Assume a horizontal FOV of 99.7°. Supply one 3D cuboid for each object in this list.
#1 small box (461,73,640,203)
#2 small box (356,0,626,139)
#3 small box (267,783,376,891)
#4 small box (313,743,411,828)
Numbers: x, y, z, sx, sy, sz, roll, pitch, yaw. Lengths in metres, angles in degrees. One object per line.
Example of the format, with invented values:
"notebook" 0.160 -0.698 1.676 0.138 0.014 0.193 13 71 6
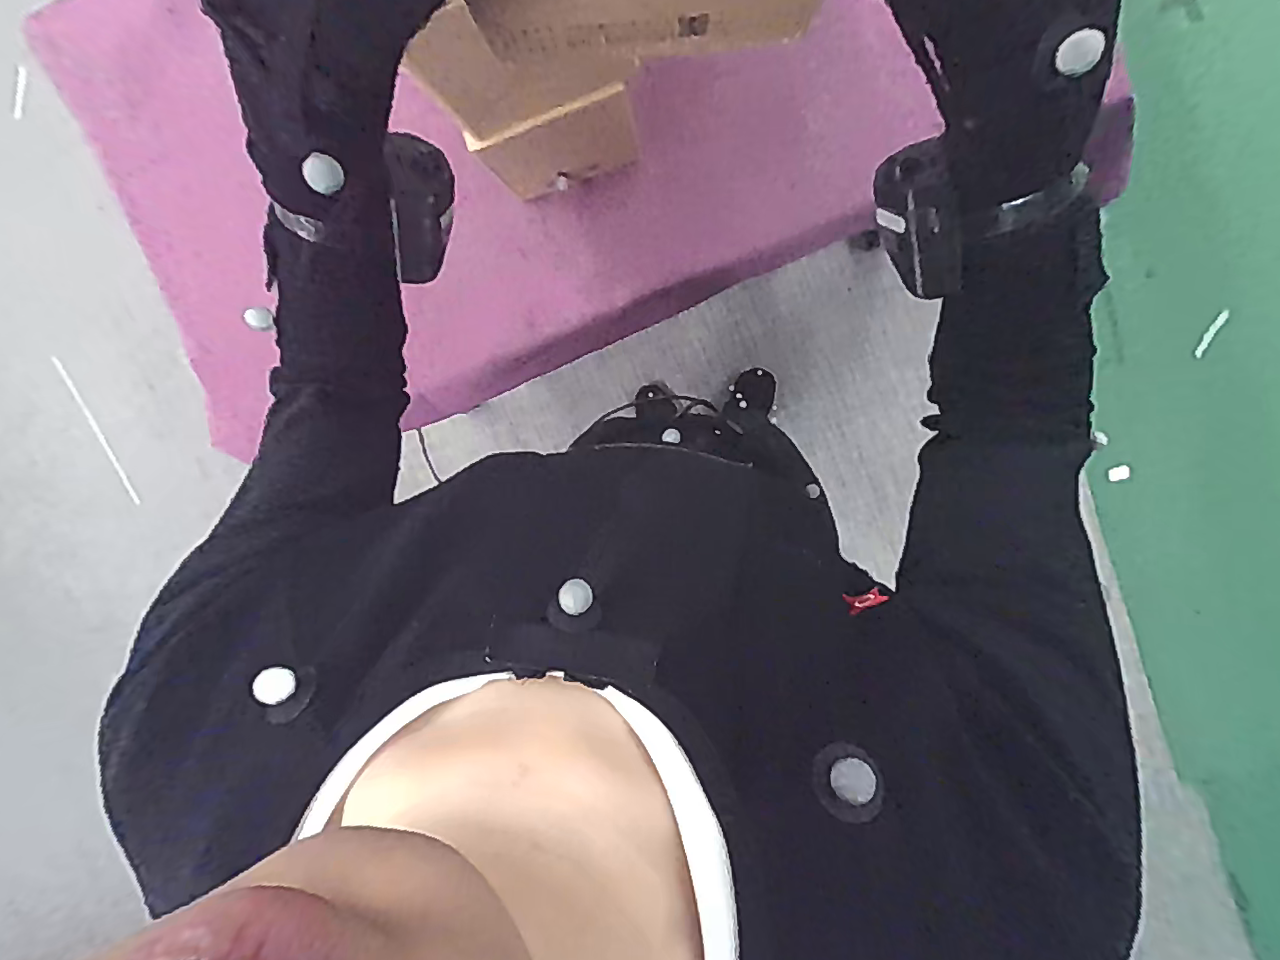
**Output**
"small box" -0.106 -0.436 0.585 0.168 0.176 0.179 -16 99 9
"small box" -0.117 -0.411 0.425 0.179 0.176 0.168 -18 98 9
"small box" -0.868 0.980 1.499 0.179 0.176 0.168 -22 98 10
"small box" -0.845 0.948 1.659 0.179 0.176 0.168 -22 98 9
